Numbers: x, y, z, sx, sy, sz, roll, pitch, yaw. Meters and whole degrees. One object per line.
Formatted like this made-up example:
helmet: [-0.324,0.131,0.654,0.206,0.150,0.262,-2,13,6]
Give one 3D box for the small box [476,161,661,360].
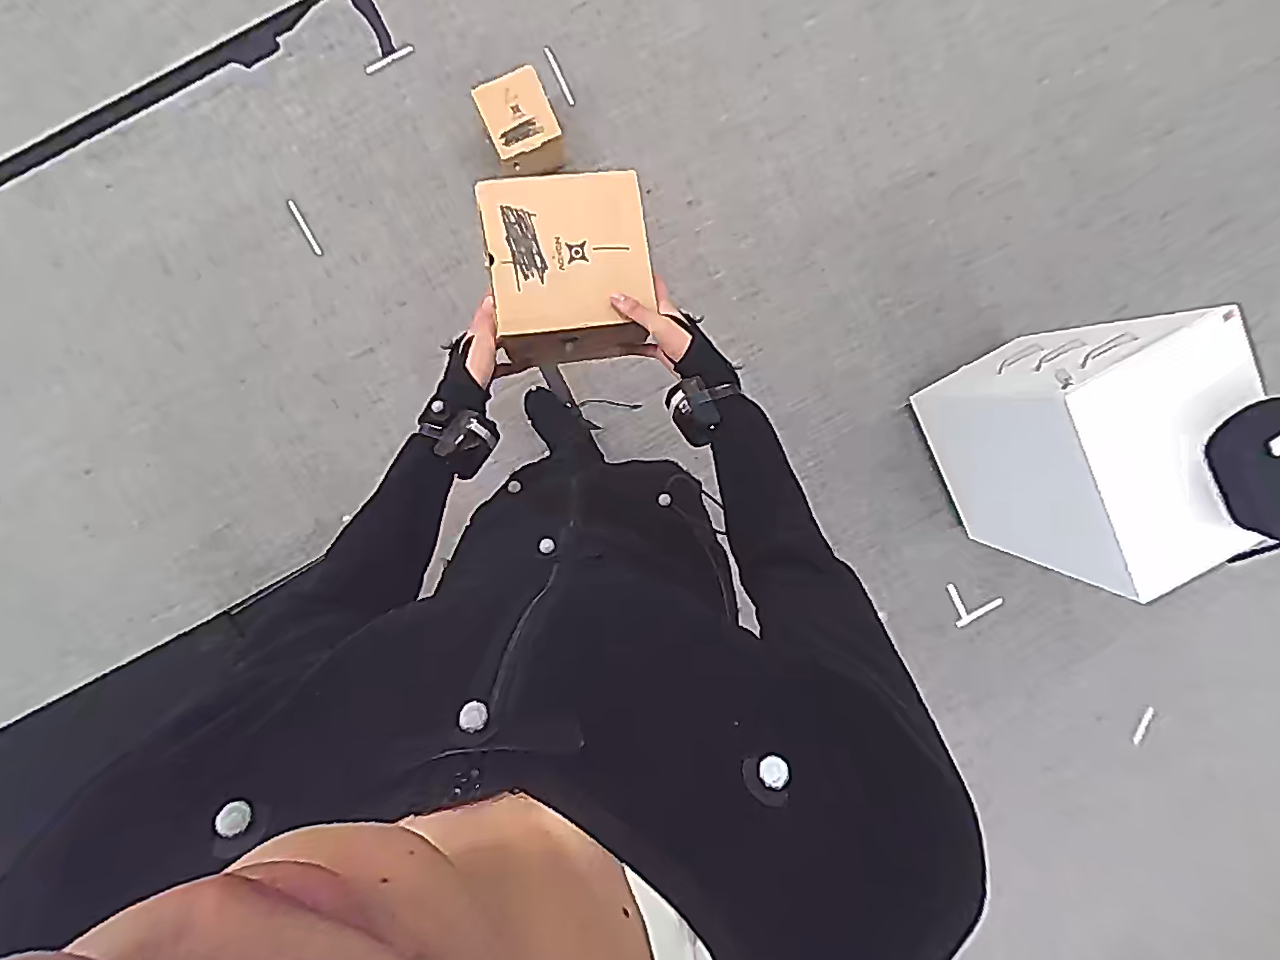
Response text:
small box: [-0.083,-0.247,0.643,0.179,0.176,0.168,-8,92,-8]
